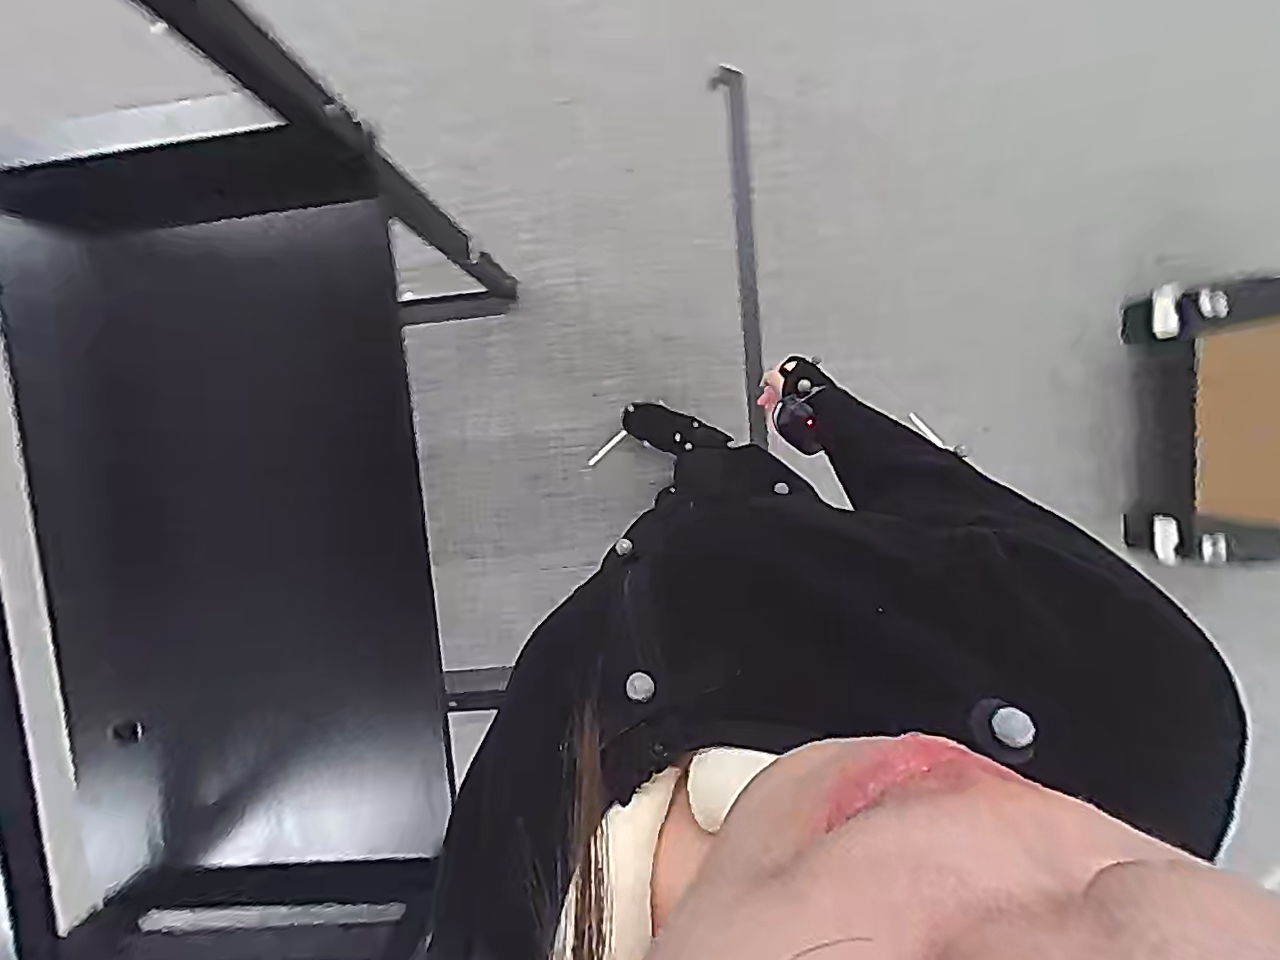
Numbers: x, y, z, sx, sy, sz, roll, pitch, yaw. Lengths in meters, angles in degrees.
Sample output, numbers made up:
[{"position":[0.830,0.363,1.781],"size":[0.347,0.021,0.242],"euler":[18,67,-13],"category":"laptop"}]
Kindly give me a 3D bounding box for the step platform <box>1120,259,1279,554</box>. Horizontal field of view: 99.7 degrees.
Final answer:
[{"position":[1.401,-0.165,1.300],"size":[0.286,0.204,0.684],"euler":[0,94,3],"category":"step platform"}]

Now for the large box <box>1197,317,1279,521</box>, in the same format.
[{"position":[1.405,-0.131,1.063],"size":[0.320,0.320,0.408],"euler":[-5,93,3],"category":"large box"}]
